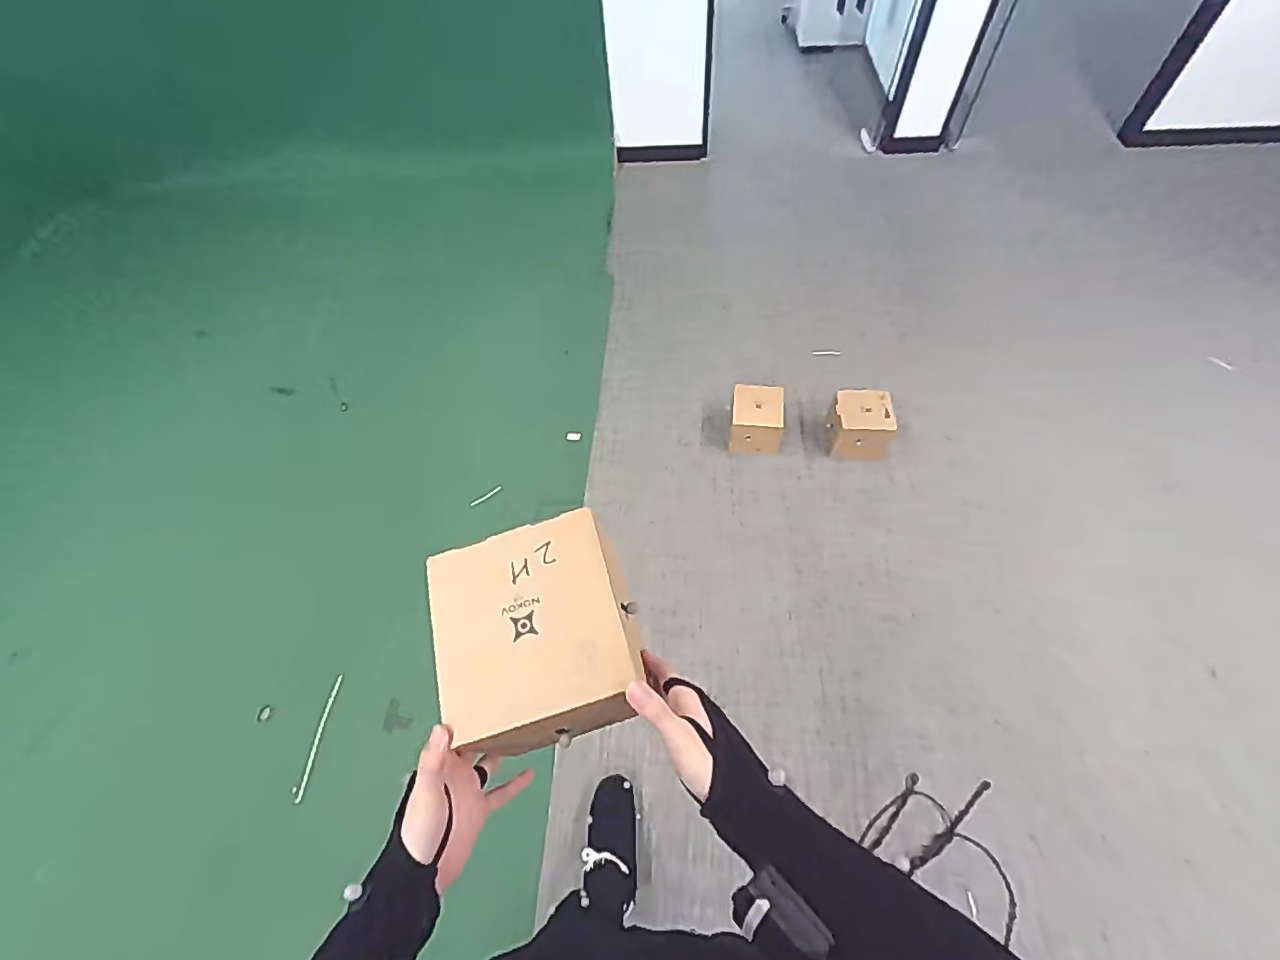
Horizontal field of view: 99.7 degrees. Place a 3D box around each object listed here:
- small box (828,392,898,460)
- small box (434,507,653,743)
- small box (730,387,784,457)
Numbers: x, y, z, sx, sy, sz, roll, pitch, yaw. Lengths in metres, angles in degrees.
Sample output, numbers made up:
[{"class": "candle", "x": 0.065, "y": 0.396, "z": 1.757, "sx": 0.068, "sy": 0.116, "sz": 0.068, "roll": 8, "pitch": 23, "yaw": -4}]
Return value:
[{"class": "small box", "x": 0.744, "y": -0.180, "z": 1.829, "sx": 0.179, "sy": 0.176, "sz": 0.168, "roll": 2, "pitch": 58, "yaw": 5}, {"class": "small box", "x": -0.091, "y": 0.158, "z": 0.555, "sx": 0.168, "sy": 0.176, "sz": 0.179, "roll": -17, "pitch": 59, "yaw": -1}, {"class": "small box", "x": 0.404, "y": -0.198, "z": 1.868, "sx": 0.168, "sy": 0.176, "sz": 0.179, "roll": 4, "pitch": 57, "yaw": 7}]
